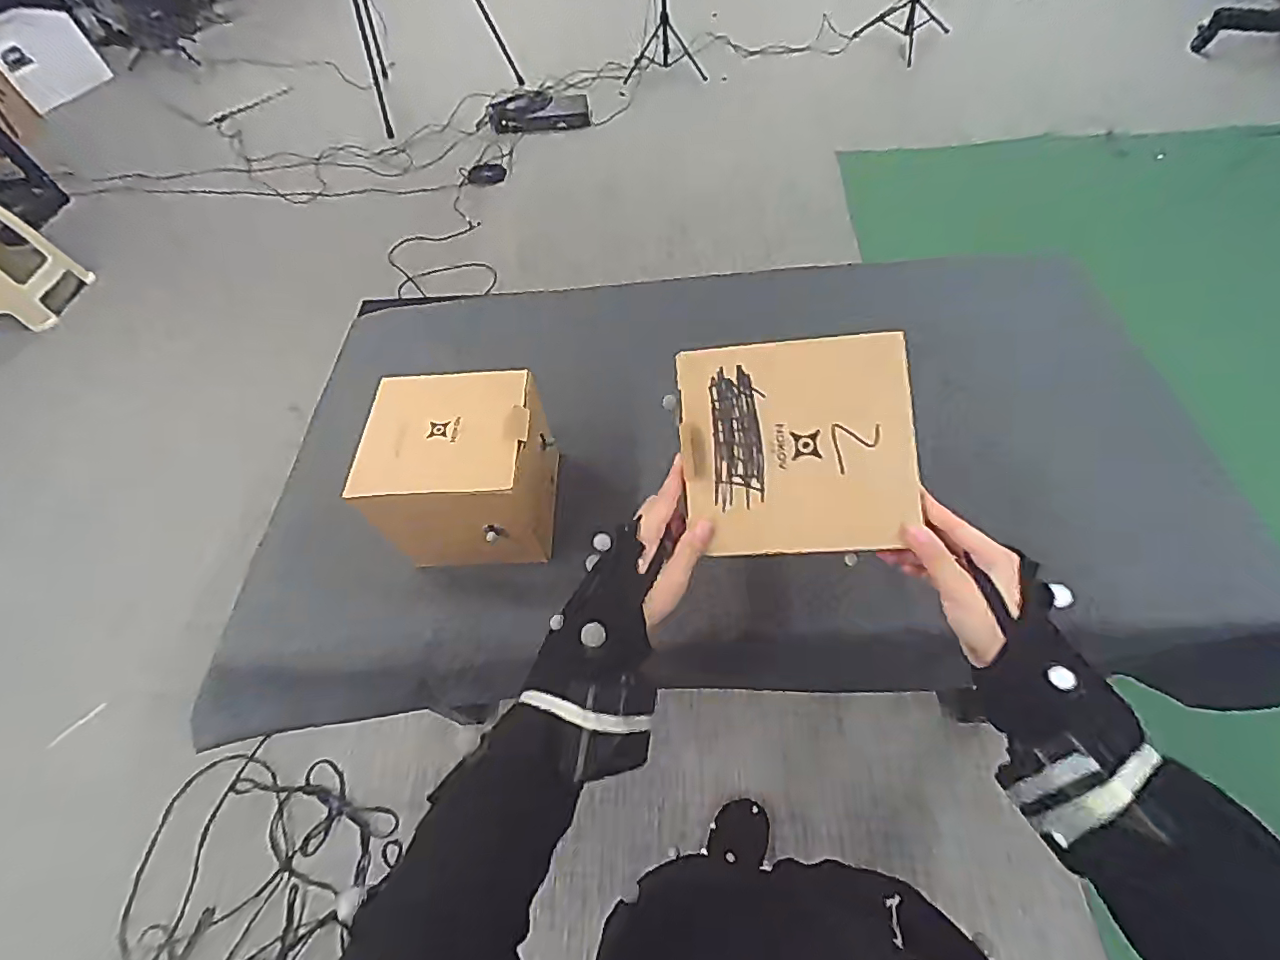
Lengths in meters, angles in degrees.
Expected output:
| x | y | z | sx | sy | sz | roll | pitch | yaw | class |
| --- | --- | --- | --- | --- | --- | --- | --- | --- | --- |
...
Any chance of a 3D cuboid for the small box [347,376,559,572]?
| x | y | z | sx | sy | sz | roll | pitch | yaw | class |
| --- | --- | --- | --- | --- | --- | --- | --- | --- | --- |
| -0.198 | -0.001 | 0.638 | 0.179 | 0.176 | 0.168 | -4 | 55 | 3 | small box |
